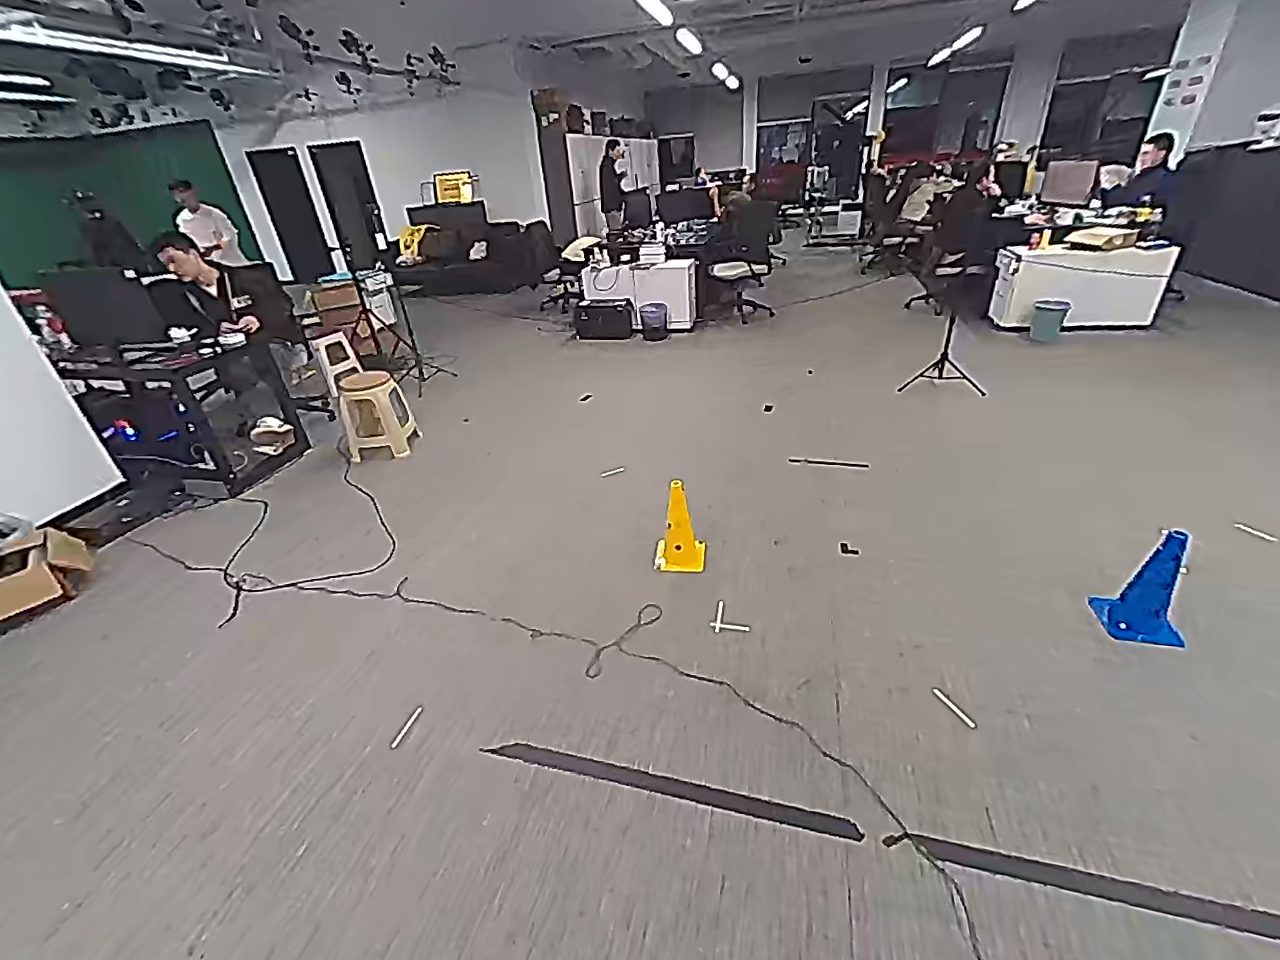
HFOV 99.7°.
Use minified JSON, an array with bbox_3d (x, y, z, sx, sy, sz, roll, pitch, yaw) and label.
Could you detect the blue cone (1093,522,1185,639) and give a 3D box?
[{"bbox_3d":[1.618,0.303,1.695,0.193,0.380,0.192,4,30,16],"label":"blue cone"}]
